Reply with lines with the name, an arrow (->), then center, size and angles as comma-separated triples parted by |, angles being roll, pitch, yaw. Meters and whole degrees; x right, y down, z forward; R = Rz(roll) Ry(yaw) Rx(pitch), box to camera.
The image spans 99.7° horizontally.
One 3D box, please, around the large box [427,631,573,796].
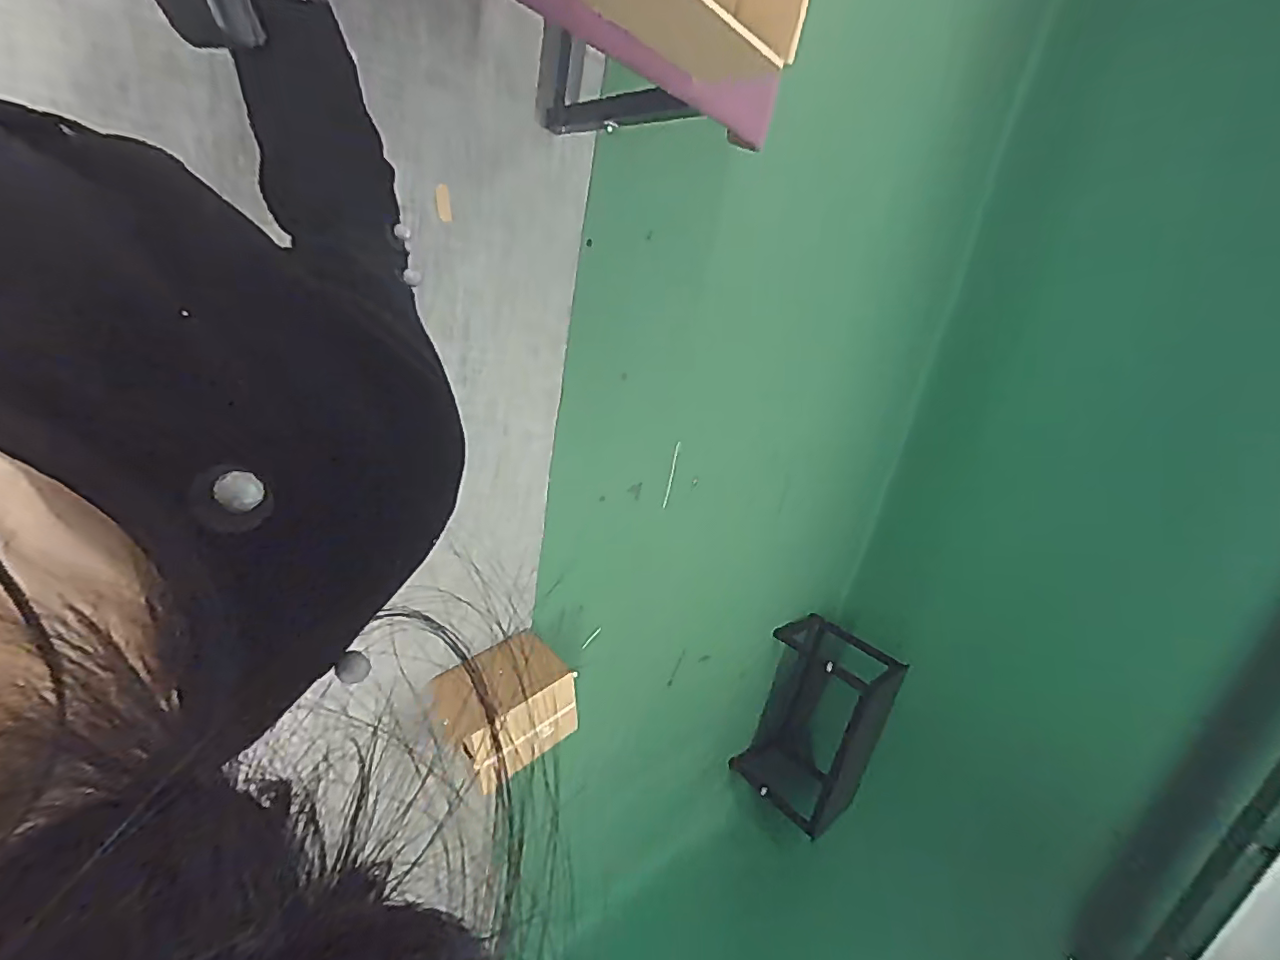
large box -> -0.508, 0.841, 1.999 | 0.408, 0.320, 0.320 | -23, 126, -37
